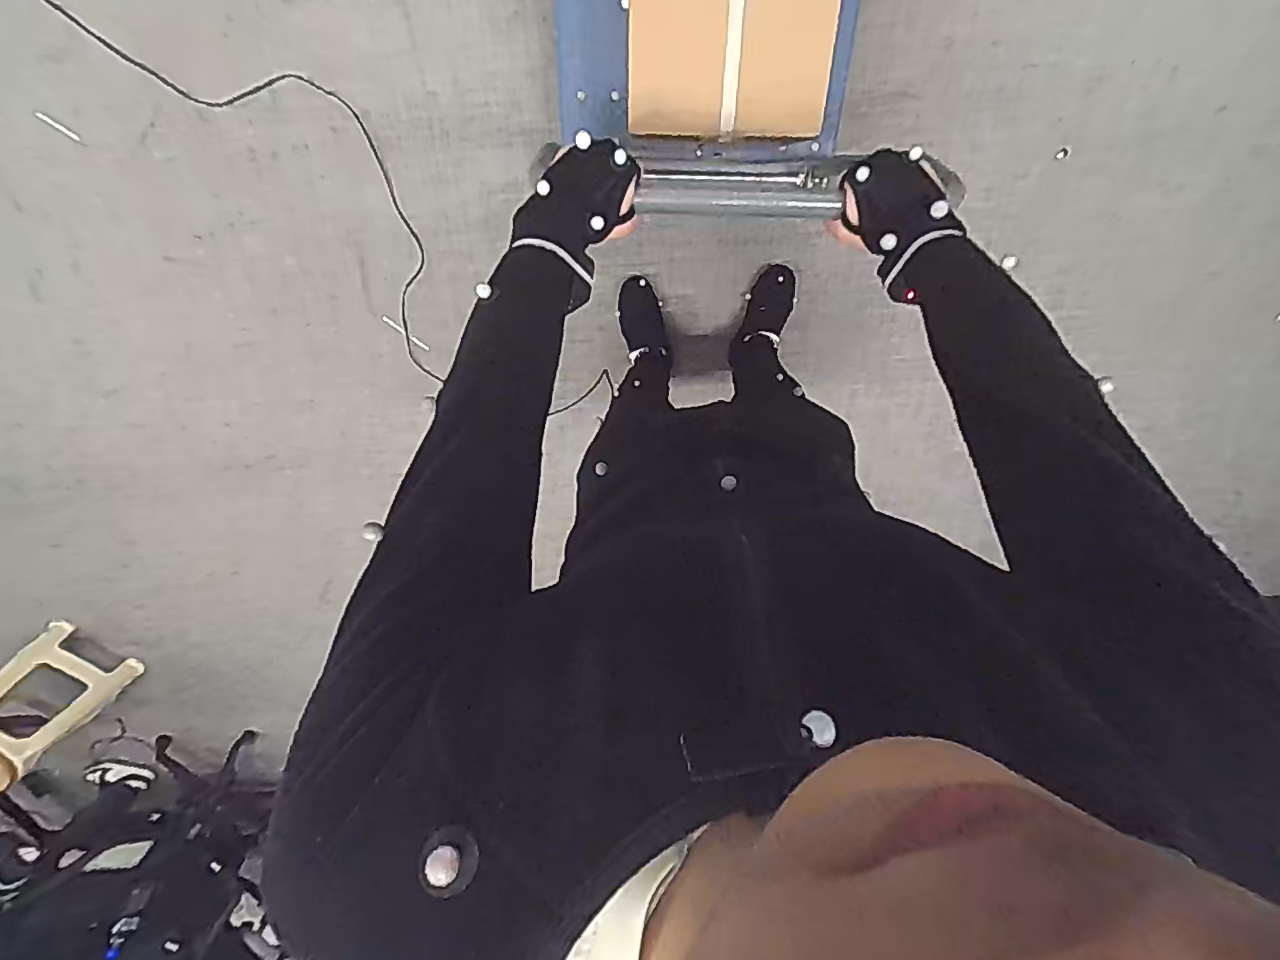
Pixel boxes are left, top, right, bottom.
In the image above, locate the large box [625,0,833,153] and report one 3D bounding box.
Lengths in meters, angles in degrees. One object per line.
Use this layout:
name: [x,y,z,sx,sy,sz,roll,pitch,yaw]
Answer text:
large box: [0.138,-0.805,0.928,0.320,0.320,0.408,1,118,0]
